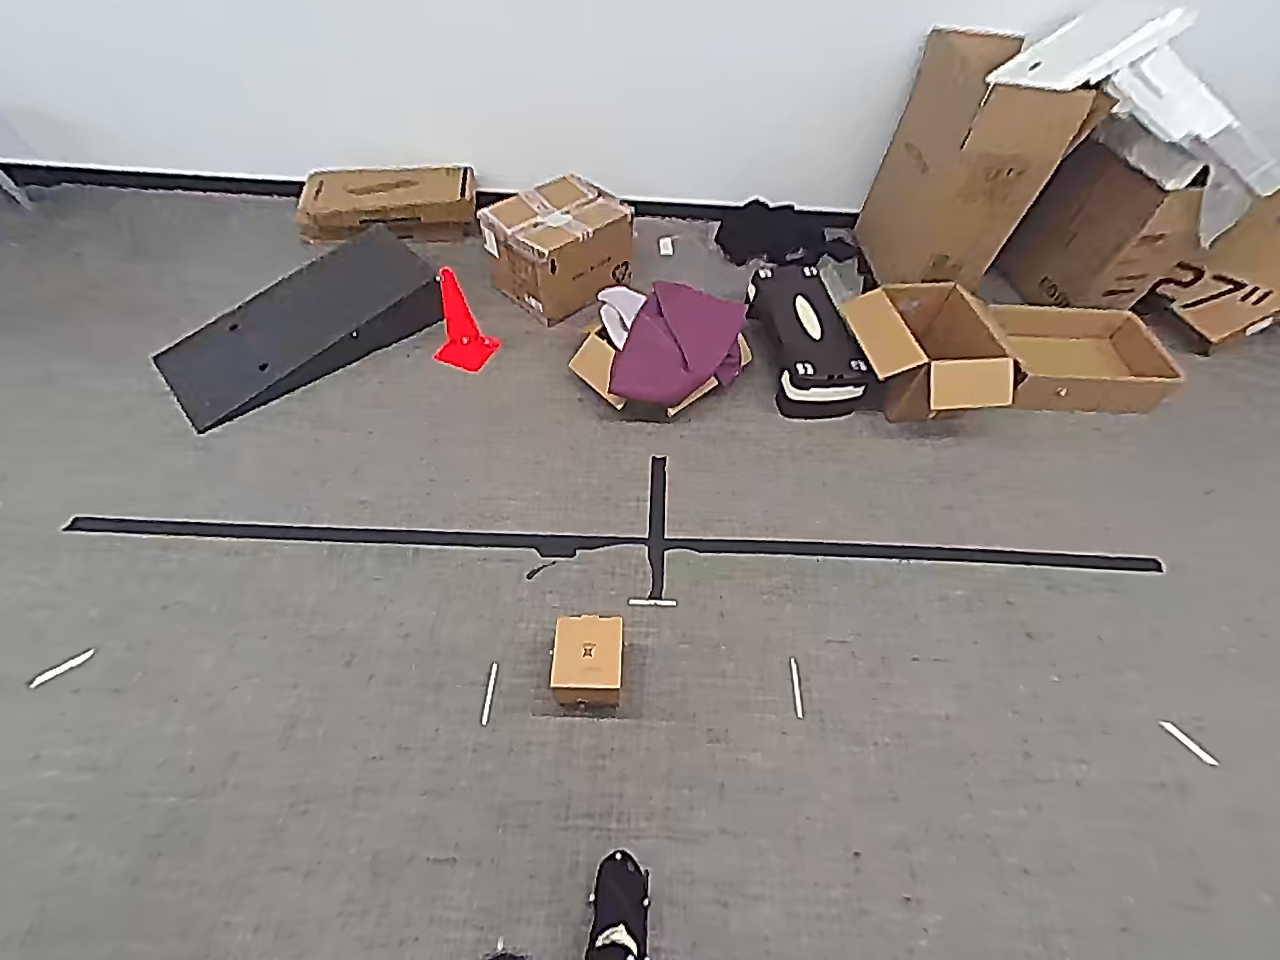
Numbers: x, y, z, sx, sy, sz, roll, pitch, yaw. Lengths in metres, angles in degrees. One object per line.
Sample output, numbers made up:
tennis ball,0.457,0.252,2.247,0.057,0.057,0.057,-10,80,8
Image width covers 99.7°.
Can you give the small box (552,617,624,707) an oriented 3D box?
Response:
small box,-0.125,0.459,1.362,0.168,0.176,0.179,1,55,-1
